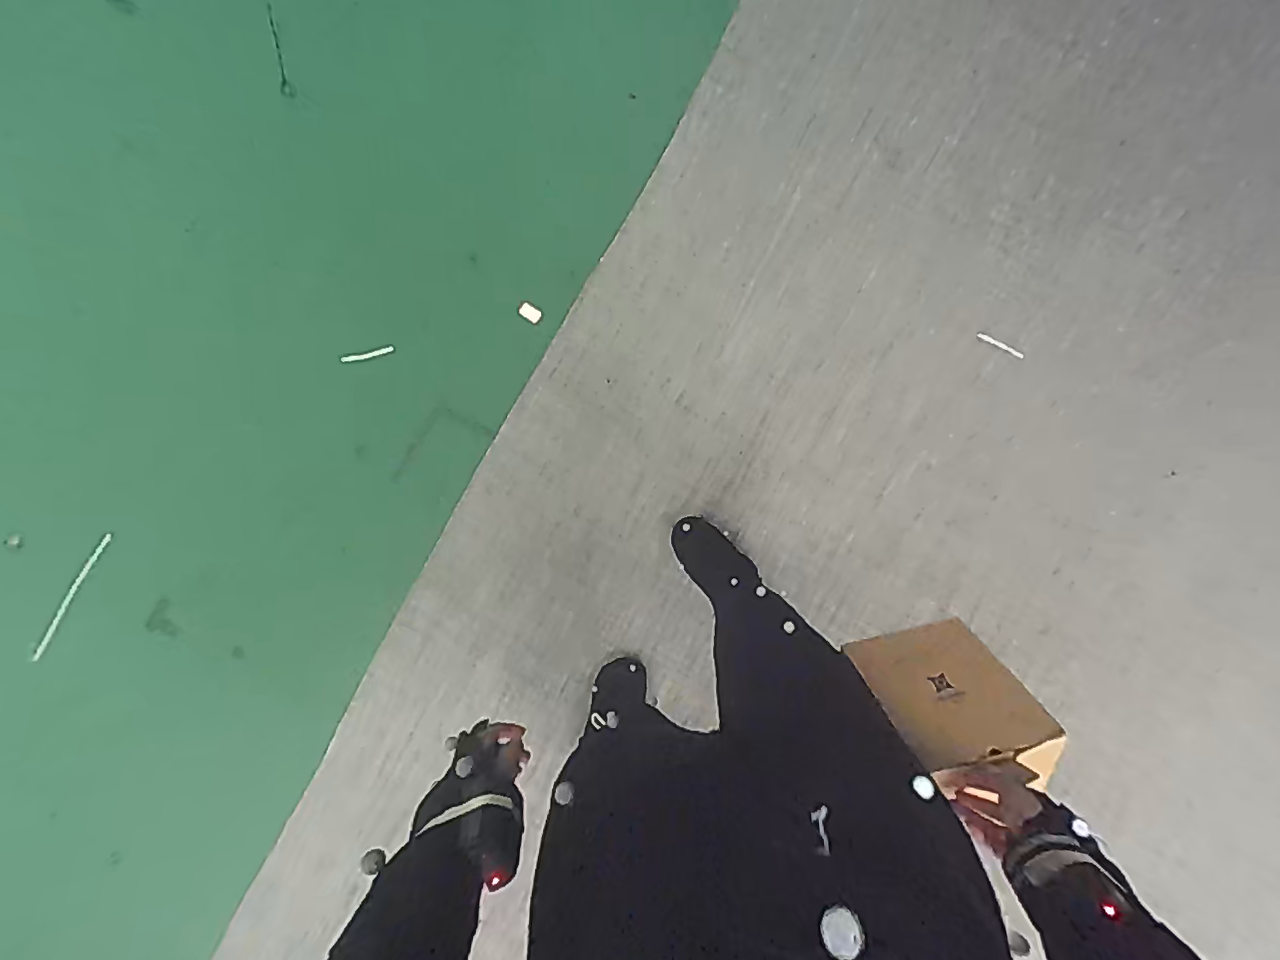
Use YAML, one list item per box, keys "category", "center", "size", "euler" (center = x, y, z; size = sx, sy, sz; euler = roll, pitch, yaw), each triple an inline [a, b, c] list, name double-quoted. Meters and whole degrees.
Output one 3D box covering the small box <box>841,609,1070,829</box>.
- category: "small box"
  center: [0.364, 0.295, 0.663]
  size: [0.168, 0.179, 0.176]
  euler: [-13, 122, -3]
